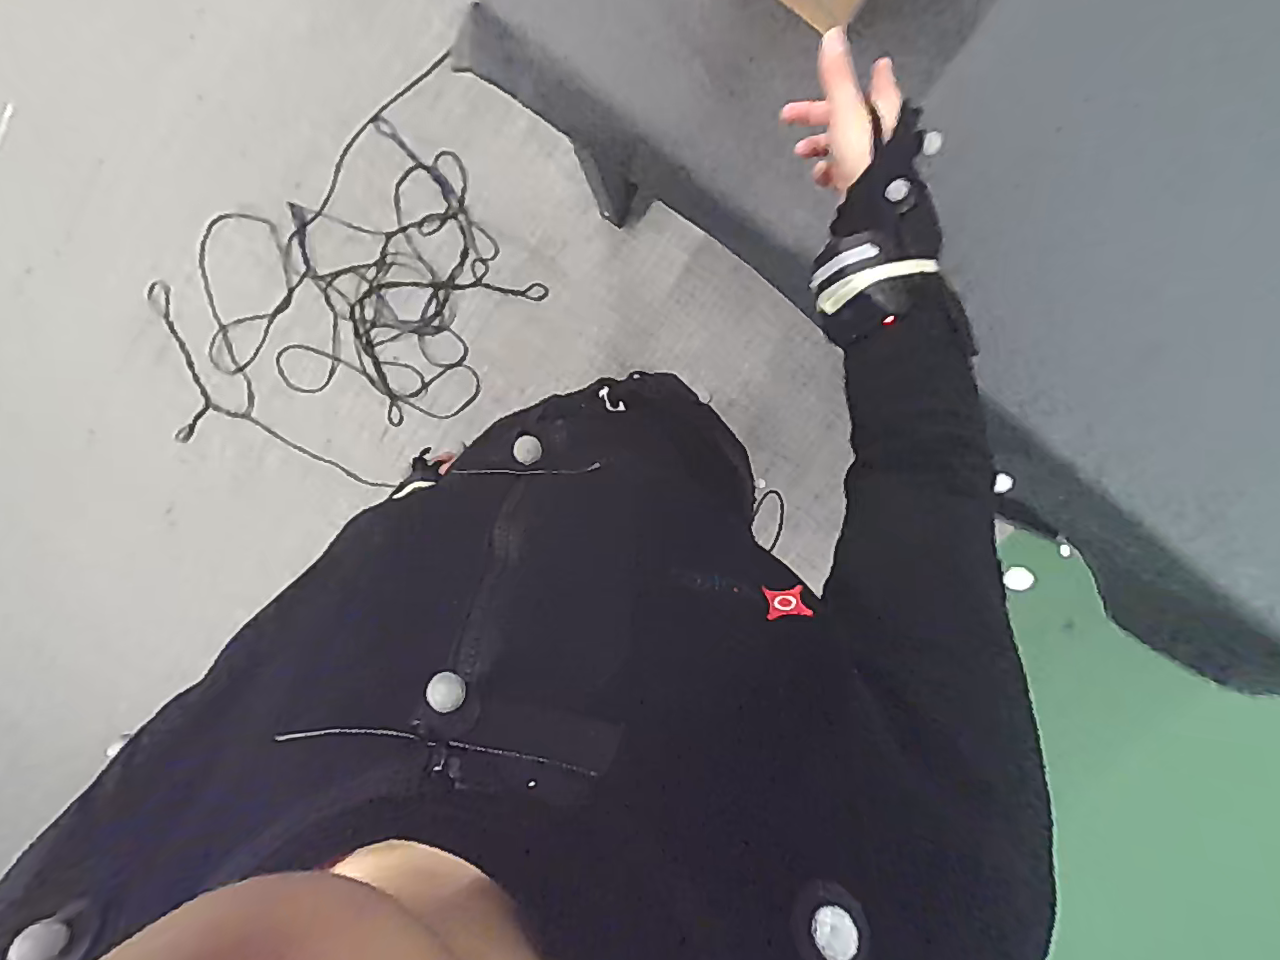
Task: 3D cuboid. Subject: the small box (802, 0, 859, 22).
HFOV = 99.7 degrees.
[{"bbox_3d":[0.167,-0.528,0.421,0.168,0.176,0.179,35,99,-4],"label":"small box"}]
